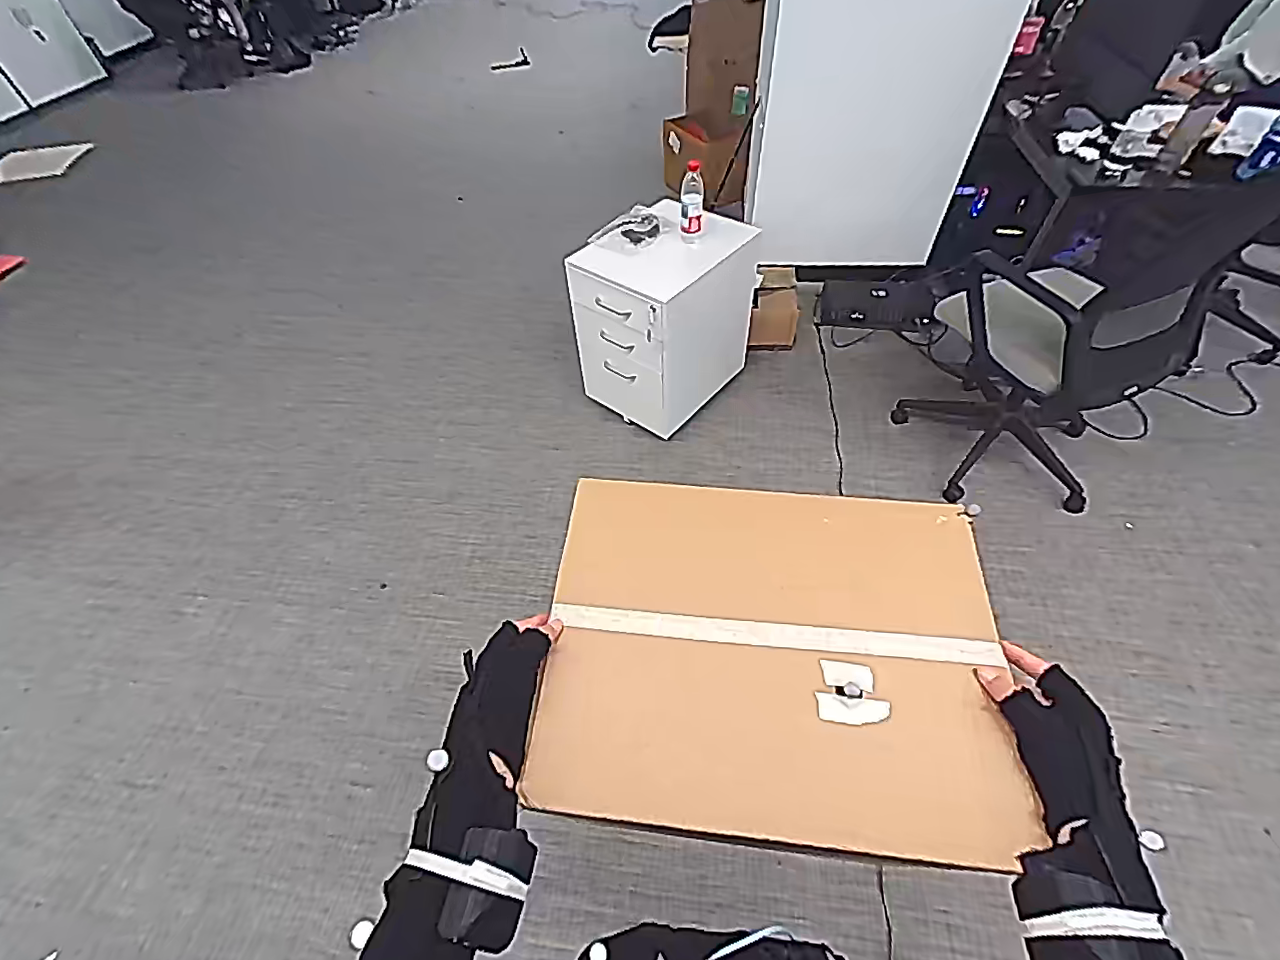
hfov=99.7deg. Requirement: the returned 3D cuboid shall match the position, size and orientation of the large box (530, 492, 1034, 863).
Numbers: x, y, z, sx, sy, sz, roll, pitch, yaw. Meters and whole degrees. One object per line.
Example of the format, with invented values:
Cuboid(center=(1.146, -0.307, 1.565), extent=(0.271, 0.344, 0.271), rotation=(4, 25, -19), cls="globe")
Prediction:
Cuboid(center=(0.123, 0.234, 0.631), extent=(0.408, 0.320, 0.320), rotation=(4, 57, 6), cls="large box")
